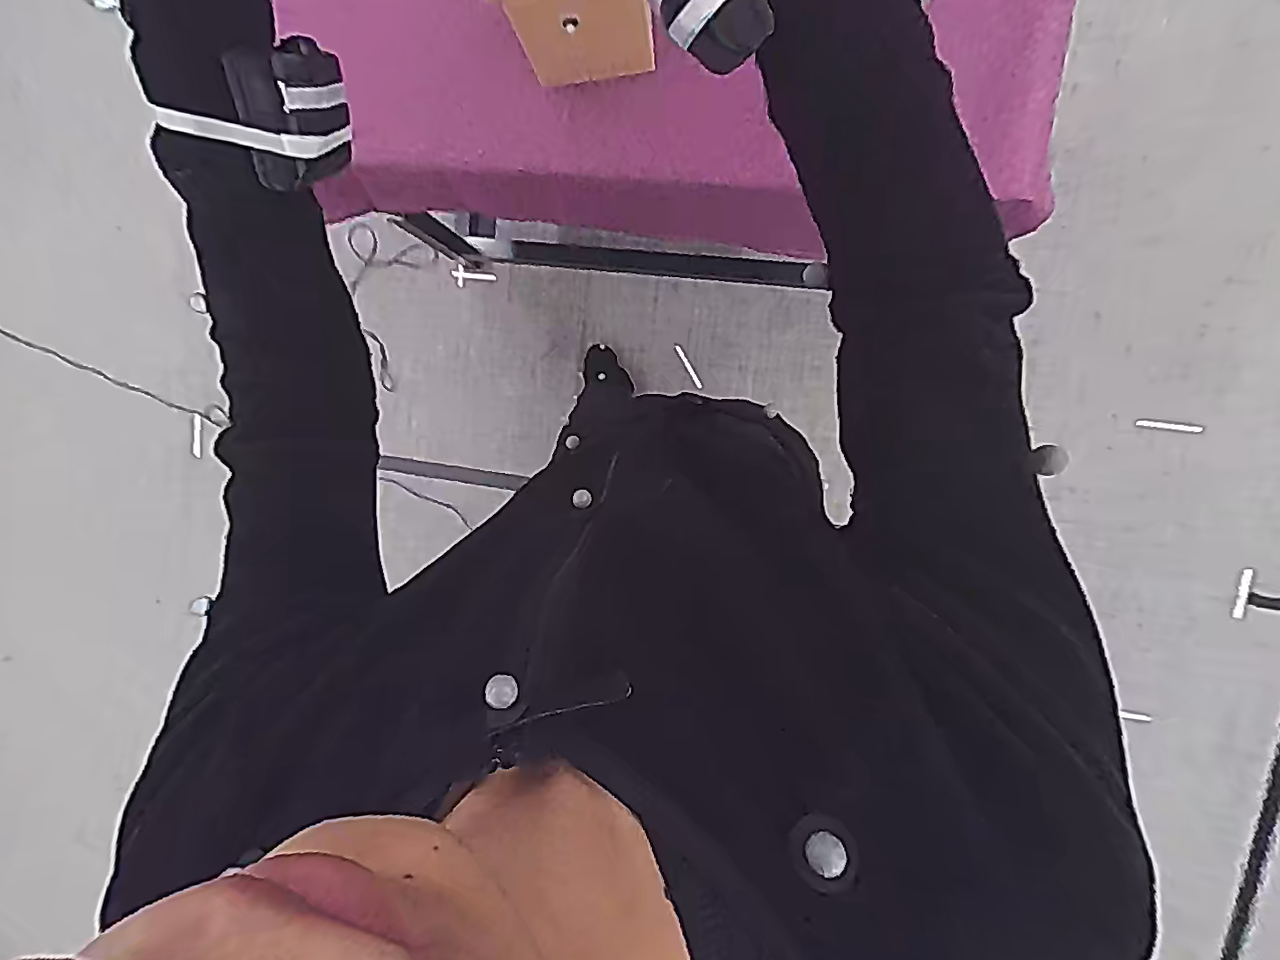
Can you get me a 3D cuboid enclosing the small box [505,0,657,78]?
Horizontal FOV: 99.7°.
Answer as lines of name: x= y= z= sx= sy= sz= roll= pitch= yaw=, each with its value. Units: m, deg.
small box: x=-0.076 y=-0.679 z=0.724 sx=0.179 sy=0.176 sz=0.168 roll=-3 pitch=96 yaw=7
